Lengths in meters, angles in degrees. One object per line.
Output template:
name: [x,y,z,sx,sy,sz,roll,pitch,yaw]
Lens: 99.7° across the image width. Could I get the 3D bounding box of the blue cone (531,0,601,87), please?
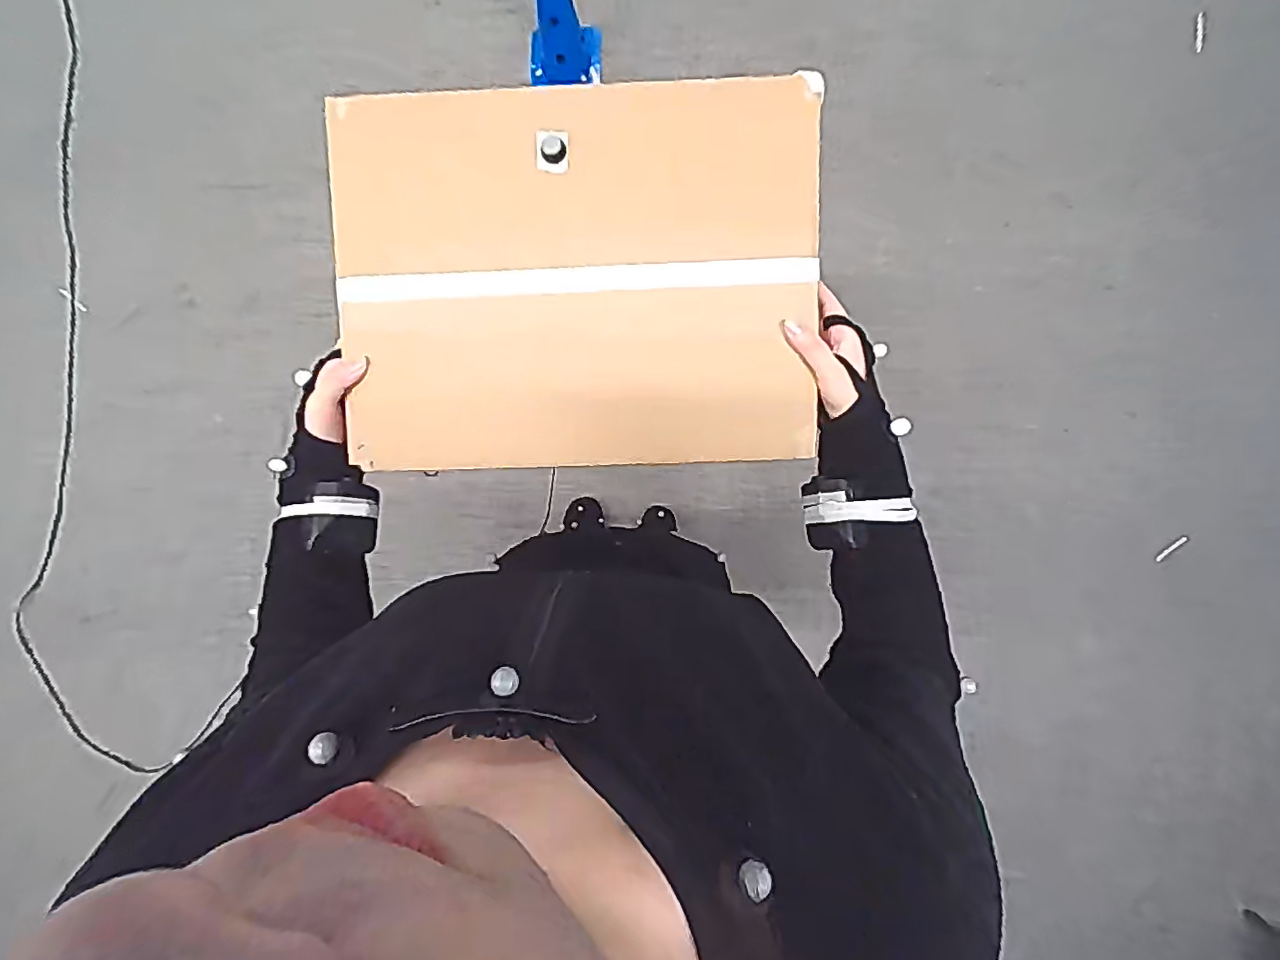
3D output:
blue cone: [-0.204,-1.184,1.330,0.193,0.380,0.192,-1,90,0]
